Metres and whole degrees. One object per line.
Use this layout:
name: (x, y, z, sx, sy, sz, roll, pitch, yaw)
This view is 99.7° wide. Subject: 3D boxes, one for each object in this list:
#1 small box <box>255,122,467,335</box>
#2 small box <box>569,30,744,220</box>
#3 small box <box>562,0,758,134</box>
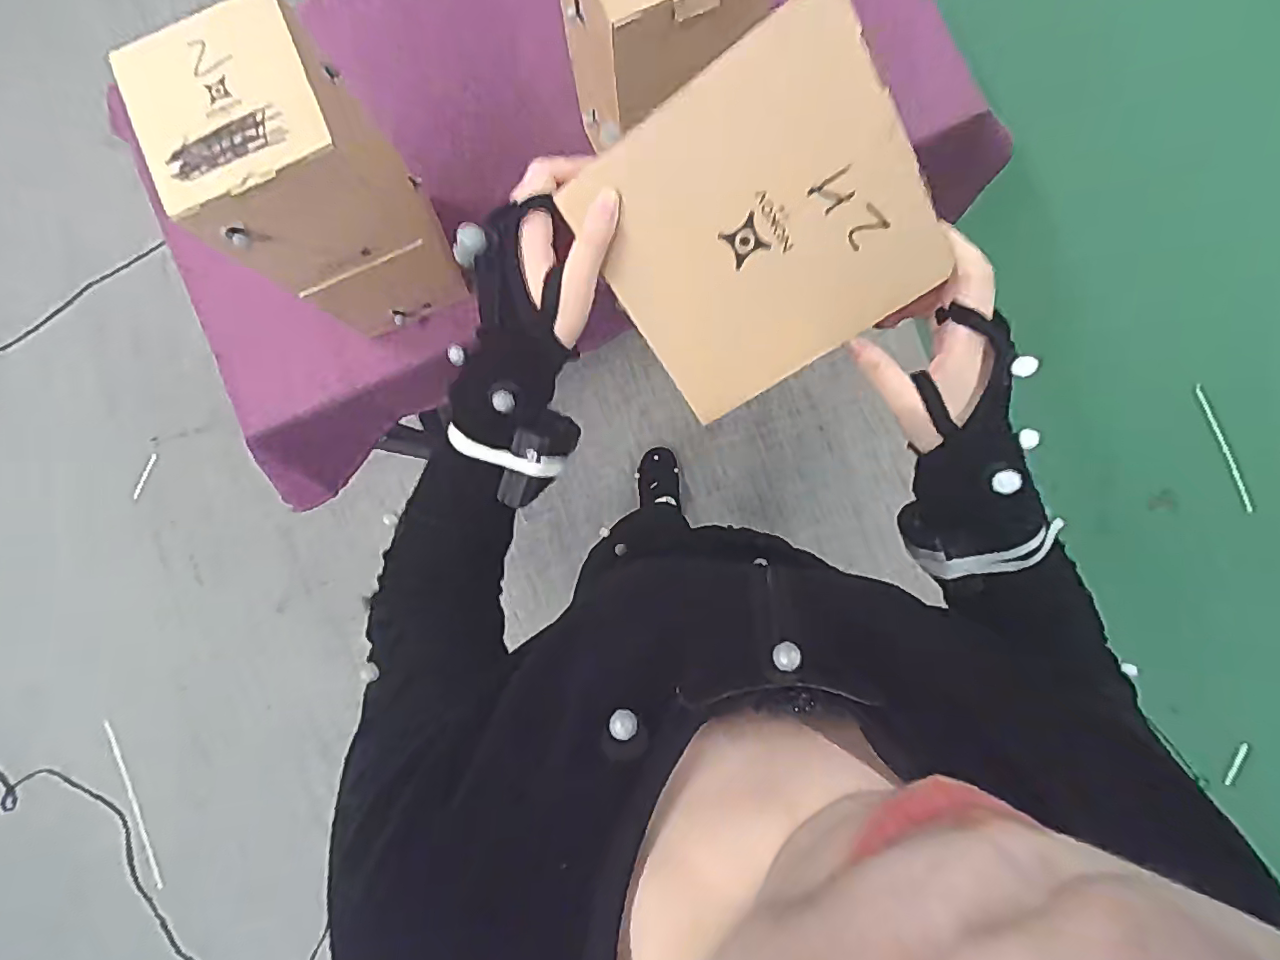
small box: (-0.363, -0.326, 0.736, 0.168, 0.176, 0.179, -23, 87, 1)
small box: (0.021, -0.497, 0.732, 0.168, 0.176, 0.179, -23, 86, 2)
small box: (0.016, -0.507, 0.567, 0.168, 0.176, 0.179, -24, 86, 0)
